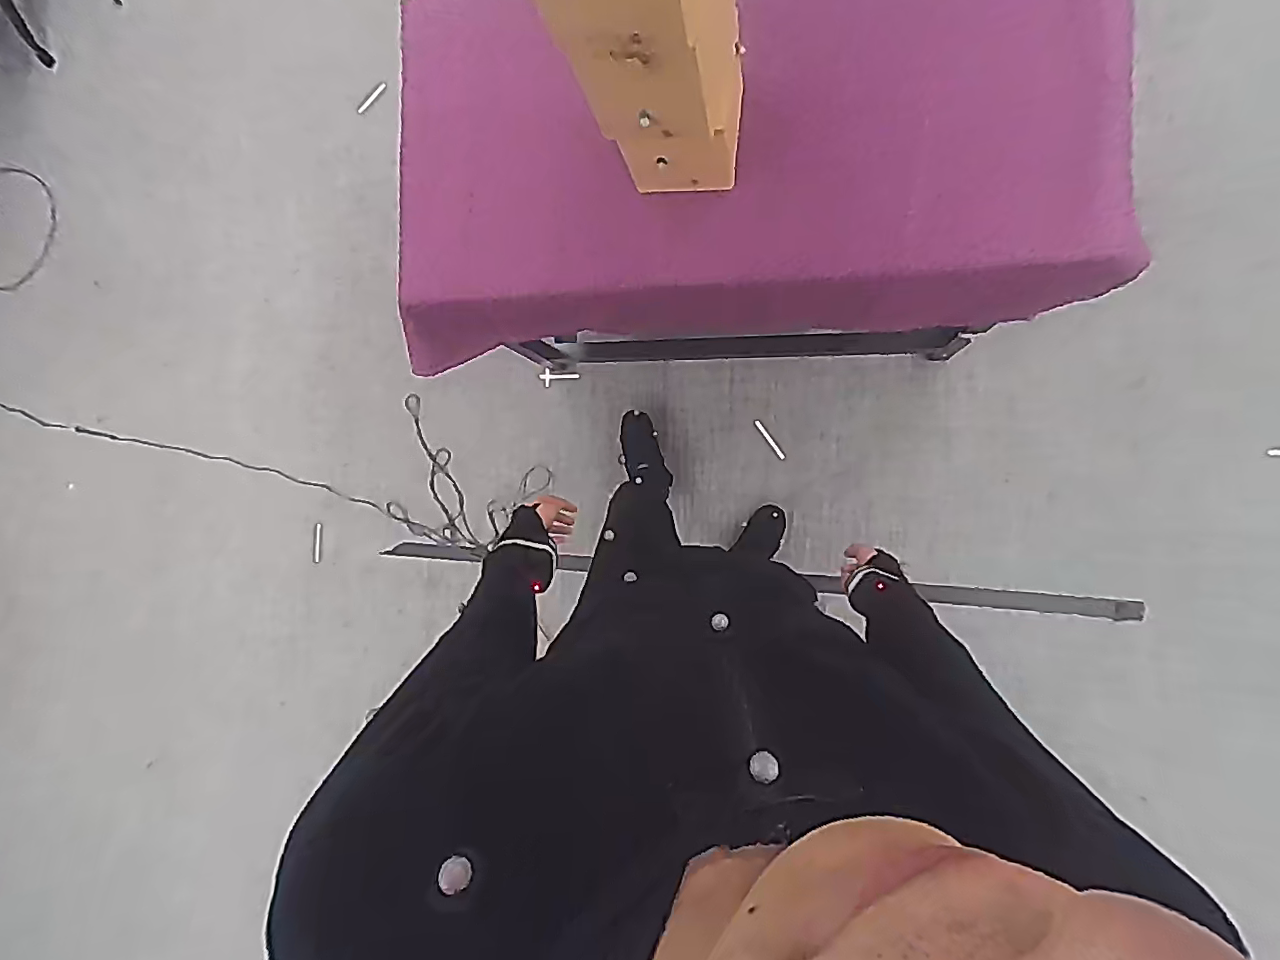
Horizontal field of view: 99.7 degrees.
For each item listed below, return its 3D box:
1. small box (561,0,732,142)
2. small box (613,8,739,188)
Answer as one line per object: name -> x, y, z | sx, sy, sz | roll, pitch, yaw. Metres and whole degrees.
small box -> 0.020, -0.575, 0.690 | 0.168, 0.176, 0.179 | 12, 92, 14
small box -> 0.064, -0.583, 0.849 | 0.168, 0.176, 0.179 | 5, 90, 13
